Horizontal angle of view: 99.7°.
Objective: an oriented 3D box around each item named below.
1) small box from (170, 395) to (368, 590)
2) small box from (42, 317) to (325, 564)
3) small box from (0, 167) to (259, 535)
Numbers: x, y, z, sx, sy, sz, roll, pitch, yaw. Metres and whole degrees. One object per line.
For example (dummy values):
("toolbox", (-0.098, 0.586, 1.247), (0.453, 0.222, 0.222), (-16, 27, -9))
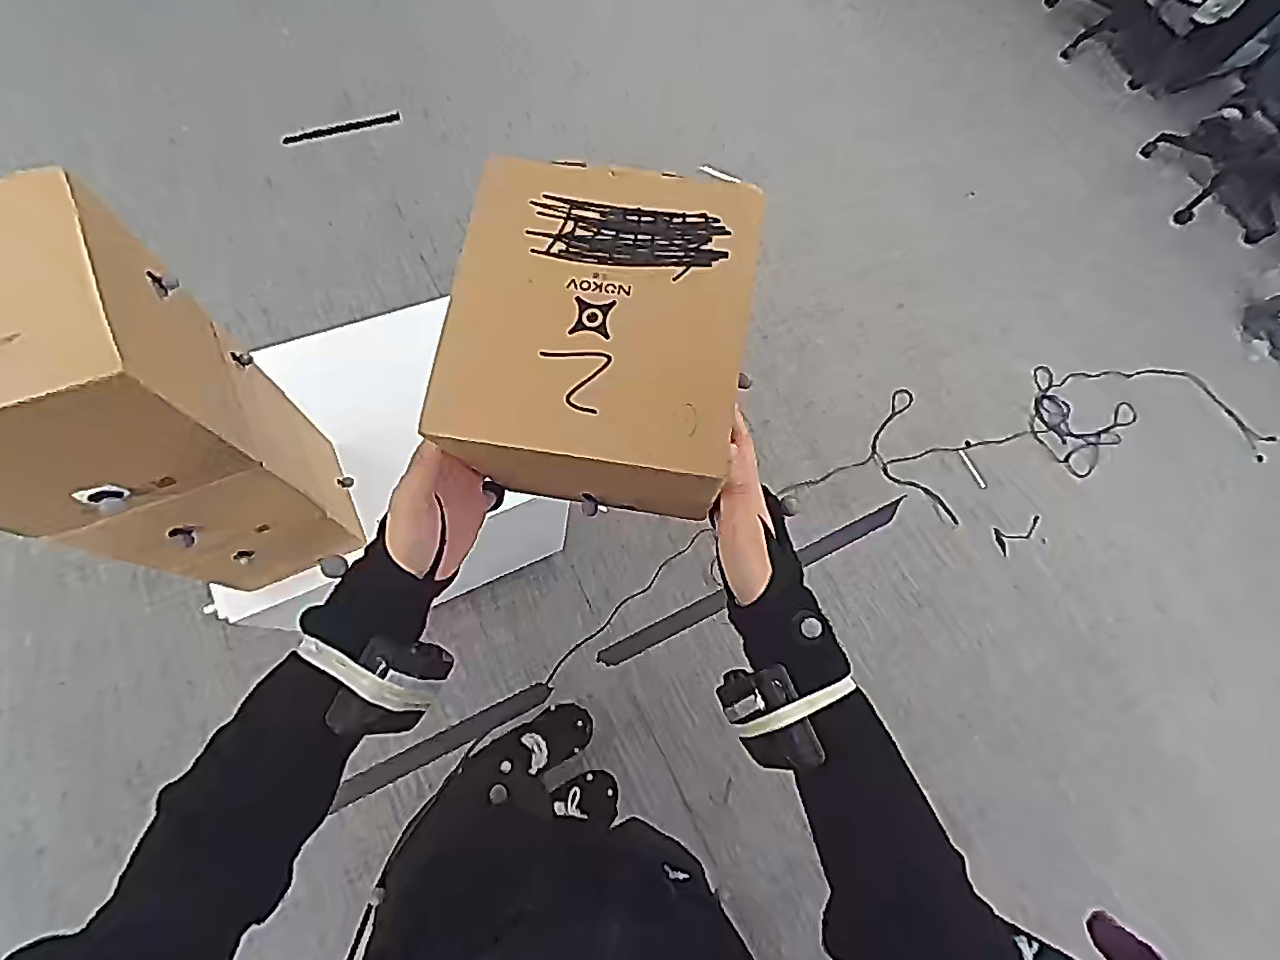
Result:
("small box", (-0.484, 0.023, 0.702), (0.168, 0.176, 0.179), (-23, 76, -17))
("small box", (-0.456, -0.027, 0.550), (0.168, 0.176, 0.179), (-24, 76, -17))
("small box", (-0.429, -0.082, 0.399), (0.168, 0.176, 0.179), (-25, 78, -16))
